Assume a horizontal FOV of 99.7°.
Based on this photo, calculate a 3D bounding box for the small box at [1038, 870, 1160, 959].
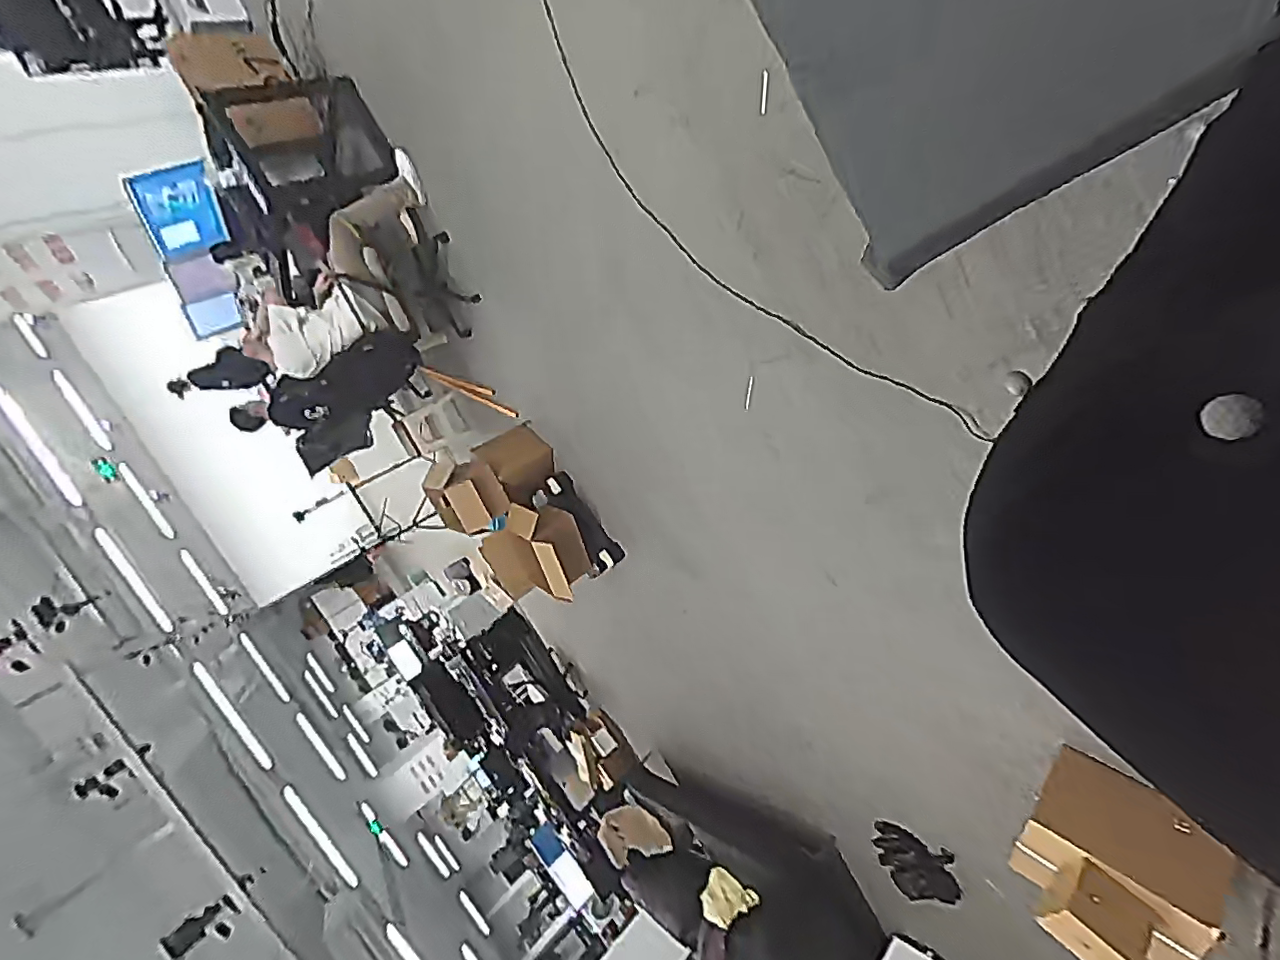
[{"bbox_3d":[1.222,1.184,1.441,0.179,0.176,0.168,35,143,31],"label":"small box"}]
